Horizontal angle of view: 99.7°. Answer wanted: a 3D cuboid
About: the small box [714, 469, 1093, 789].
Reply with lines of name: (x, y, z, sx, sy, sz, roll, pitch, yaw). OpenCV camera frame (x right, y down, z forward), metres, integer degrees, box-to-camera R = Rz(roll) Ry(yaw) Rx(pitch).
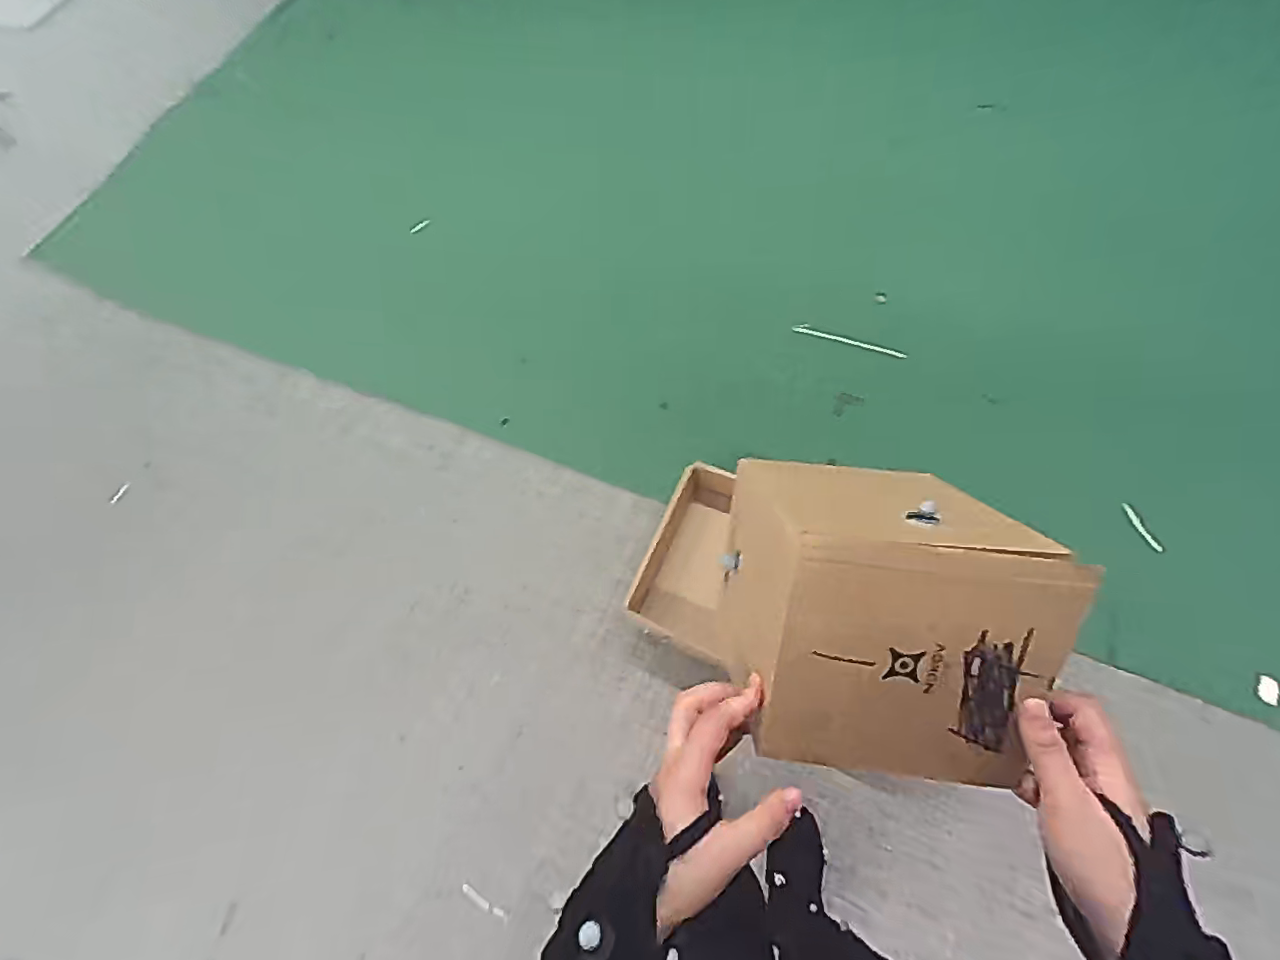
small box: (0.164, 0.096, 0.405, 0.179, 0.176, 0.168, 5, 108, -3)
